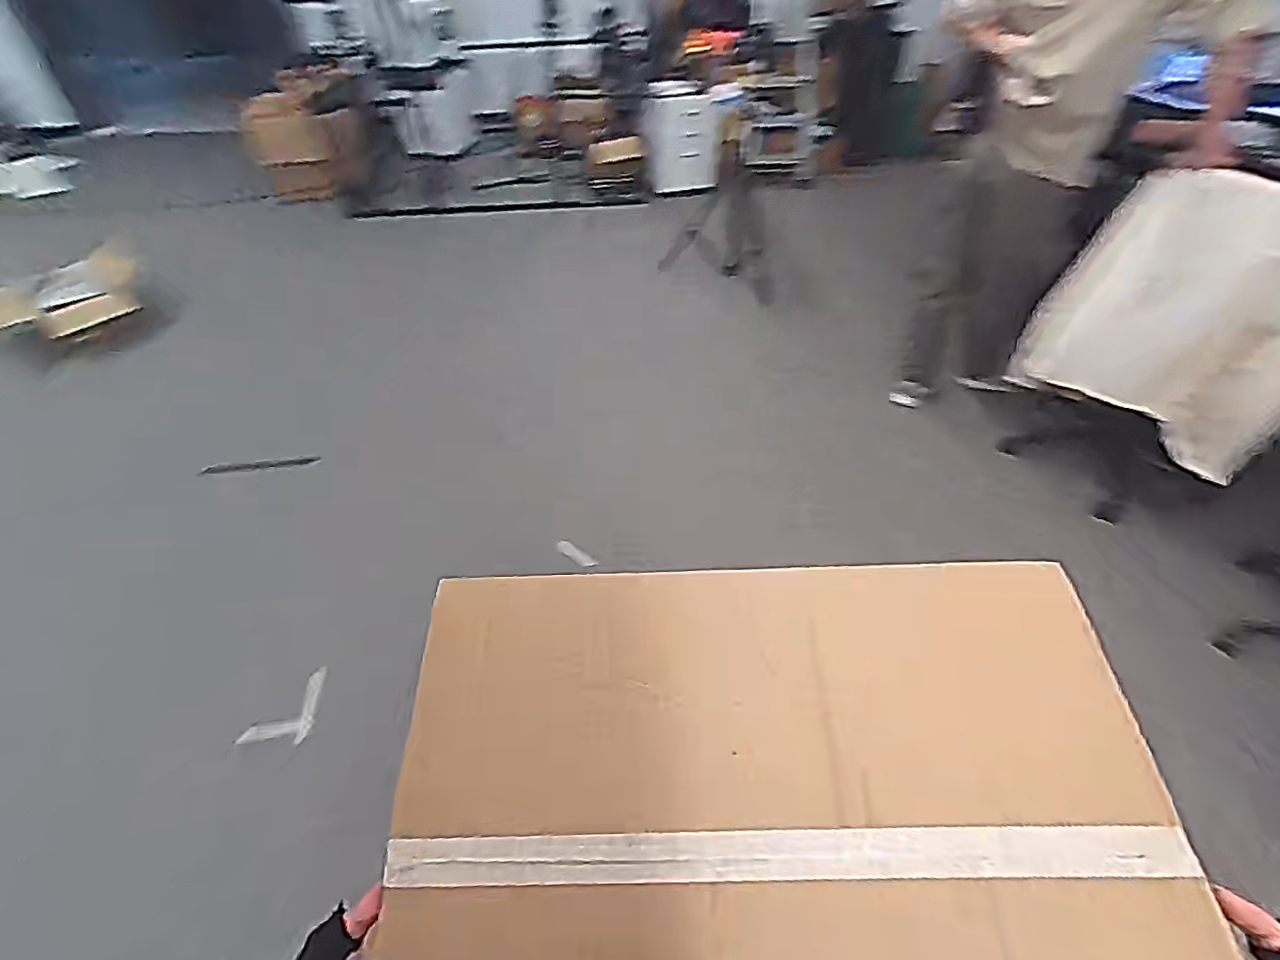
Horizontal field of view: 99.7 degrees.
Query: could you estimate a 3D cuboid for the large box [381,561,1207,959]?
[{"bbox_3d":[0.073,0.277,0.411,0.408,0.320,0.320,-4,59,1],"label":"large box"}]
